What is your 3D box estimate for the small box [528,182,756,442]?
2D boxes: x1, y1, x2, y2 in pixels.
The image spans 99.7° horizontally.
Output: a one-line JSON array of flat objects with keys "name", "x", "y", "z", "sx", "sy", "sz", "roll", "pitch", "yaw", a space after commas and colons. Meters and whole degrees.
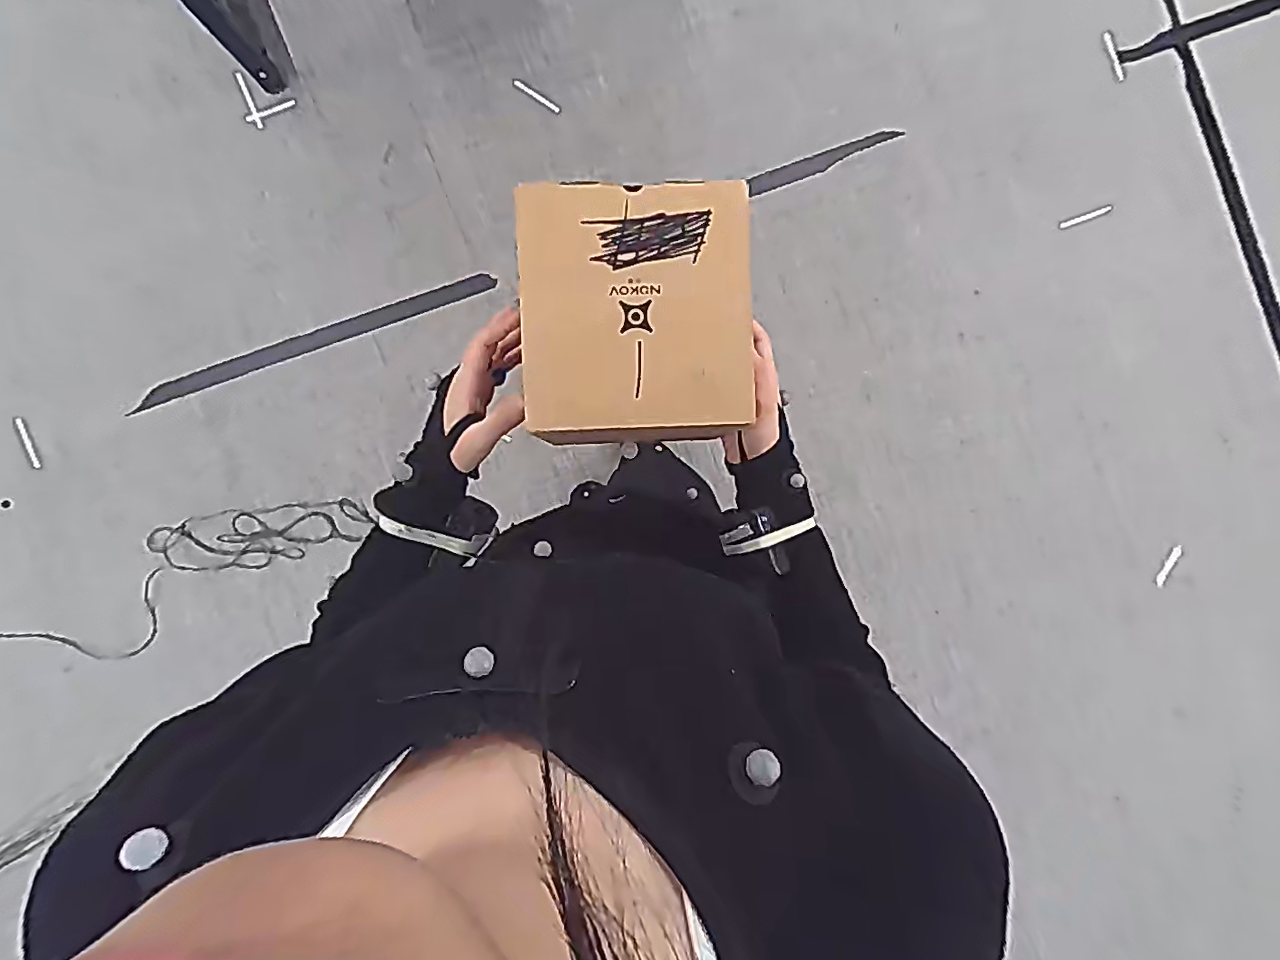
[{"name": "small box", "x": -0.003, "y": -0.126, "z": 0.467, "sx": 0.168, "sy": 0.176, "sz": 0.179, "roll": -2, "pitch": 91, "yaw": -3}]
